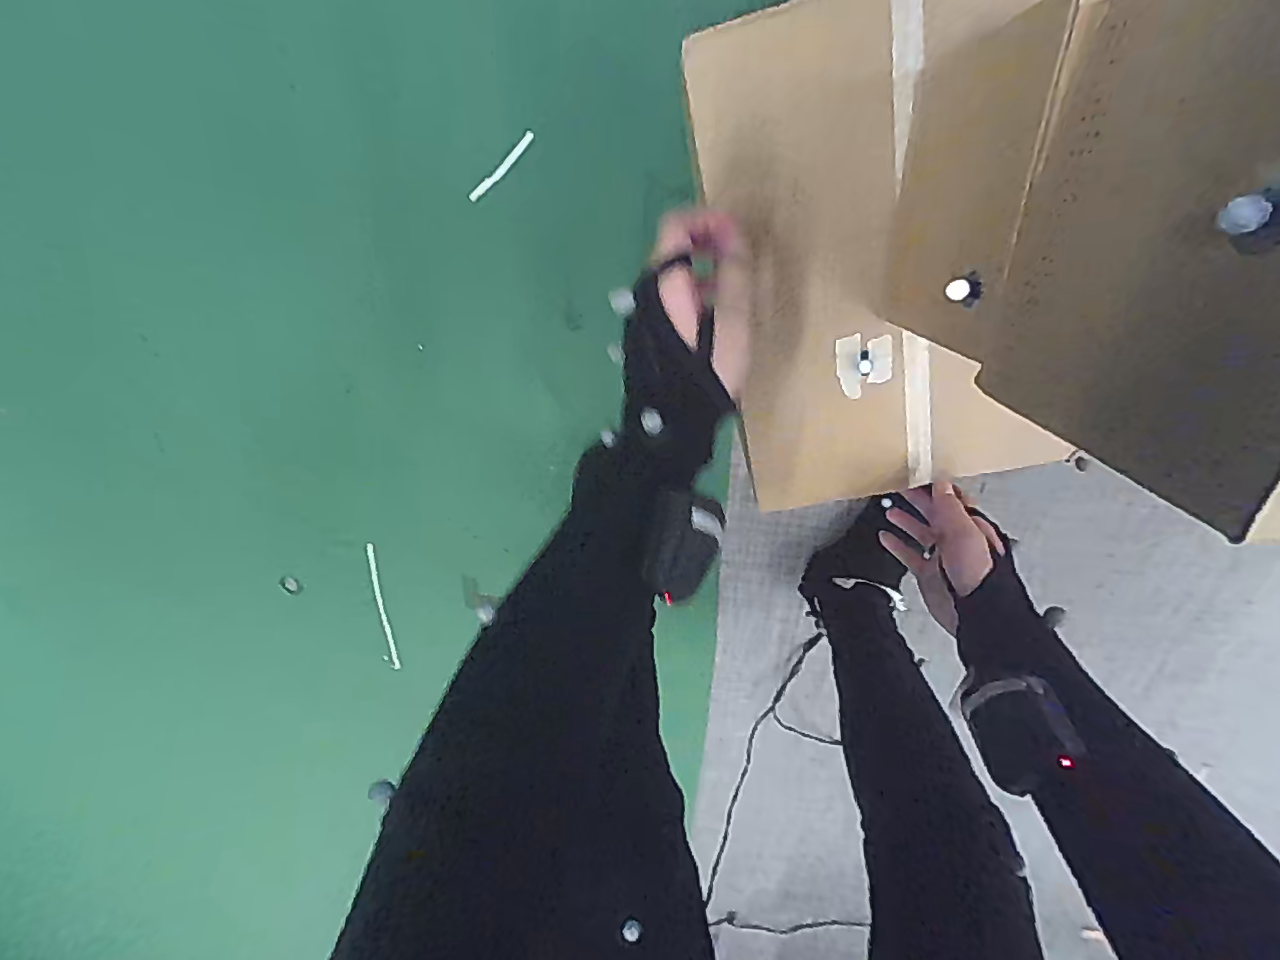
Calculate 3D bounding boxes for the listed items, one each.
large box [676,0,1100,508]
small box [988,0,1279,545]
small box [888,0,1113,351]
[{"bbox_3d":[0.234,-0.240,0.572,0.320,0.320,0.408,-11,116,11],"label":"large box"},{"bbox_3d":[0.263,-0.090,0.188,0.168,0.176,0.179,3,117,2],"label":"small box"},{"bbox_3d":[0.270,-0.178,0.326,0.168,0.176,0.179,-2,117,3],"label":"small box"}]
